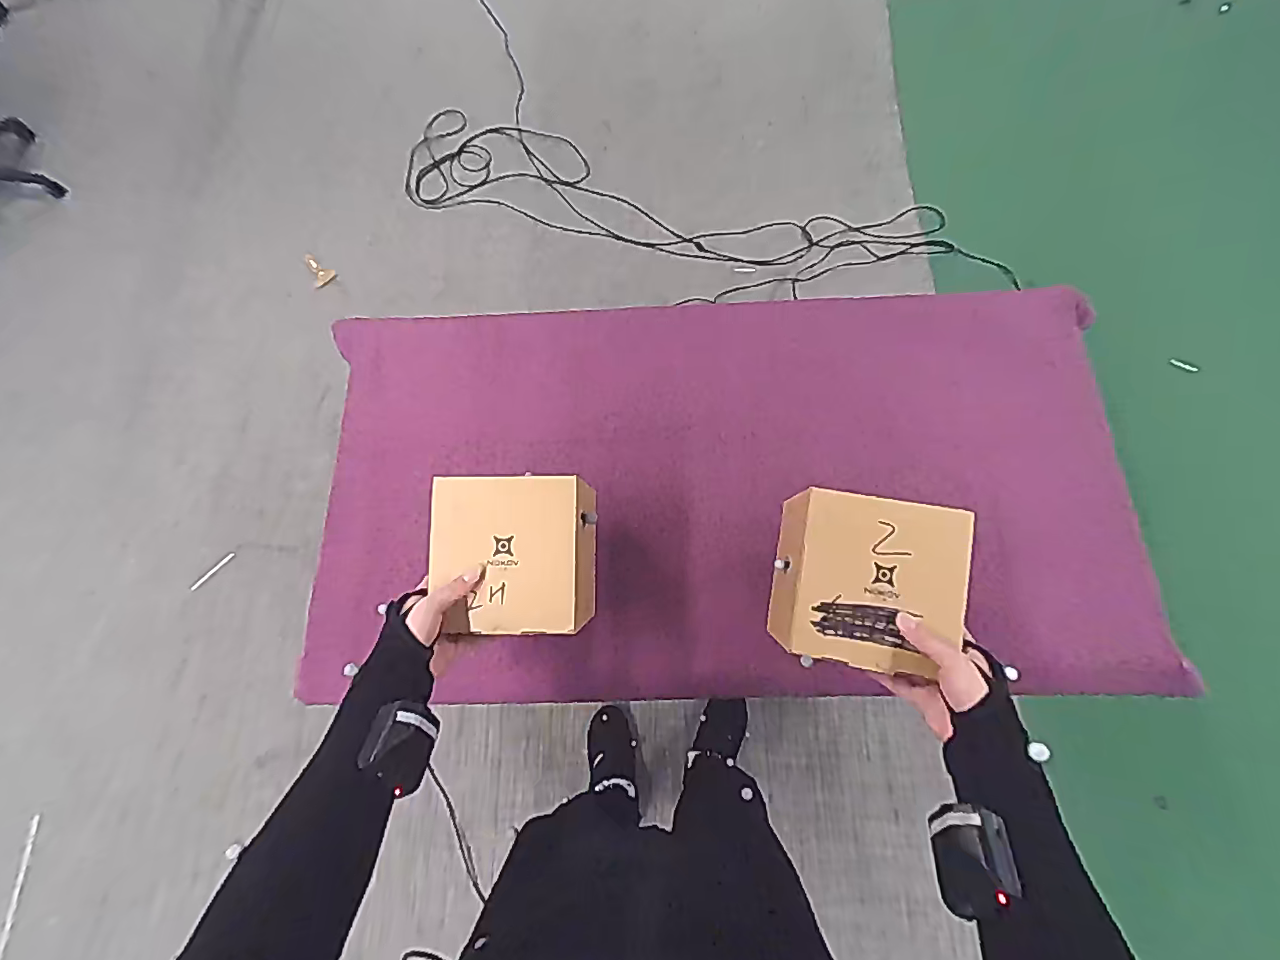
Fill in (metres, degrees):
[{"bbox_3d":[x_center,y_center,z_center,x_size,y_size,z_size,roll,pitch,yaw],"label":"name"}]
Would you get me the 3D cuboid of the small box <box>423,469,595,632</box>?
[{"bbox_3d":[-0.149,0.085,0.669,0.168,0.176,0.179,0,83,3],"label":"small box"}]
